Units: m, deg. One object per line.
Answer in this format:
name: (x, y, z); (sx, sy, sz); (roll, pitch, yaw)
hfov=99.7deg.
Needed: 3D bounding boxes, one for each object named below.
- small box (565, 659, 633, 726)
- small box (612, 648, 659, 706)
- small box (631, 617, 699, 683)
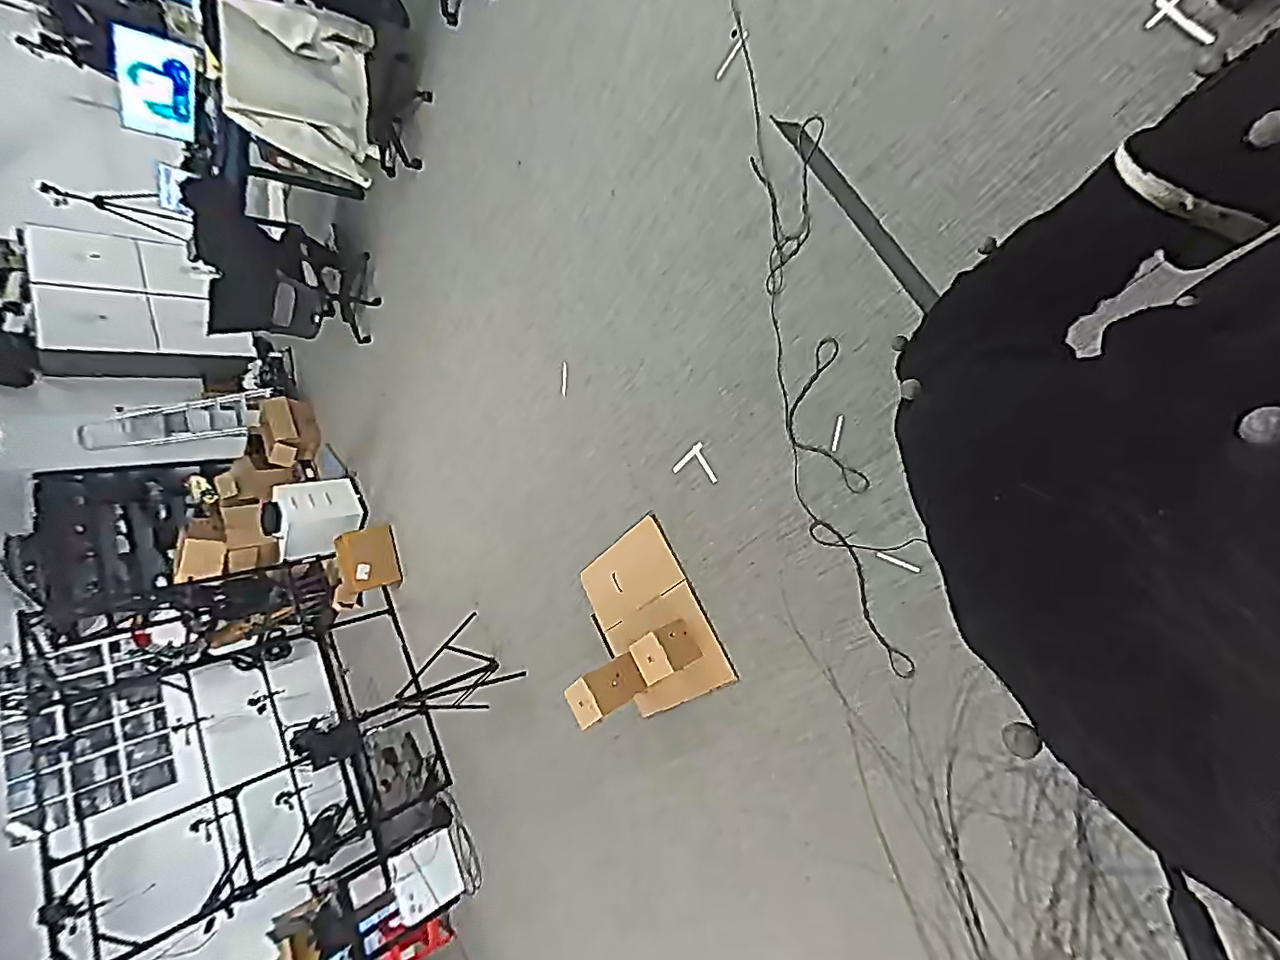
small box: (-0.159, 0.836, 2.131); (0.168, 0.176, 0.179); (57, 132, 20)
small box: (-0.044, 0.810, 2.246); (0.168, 0.176, 0.179); (57, 131, 22)
small box: (0.102, 0.646, 2.068); (0.179, 0.176, 0.168); (-47, 64, 40)
